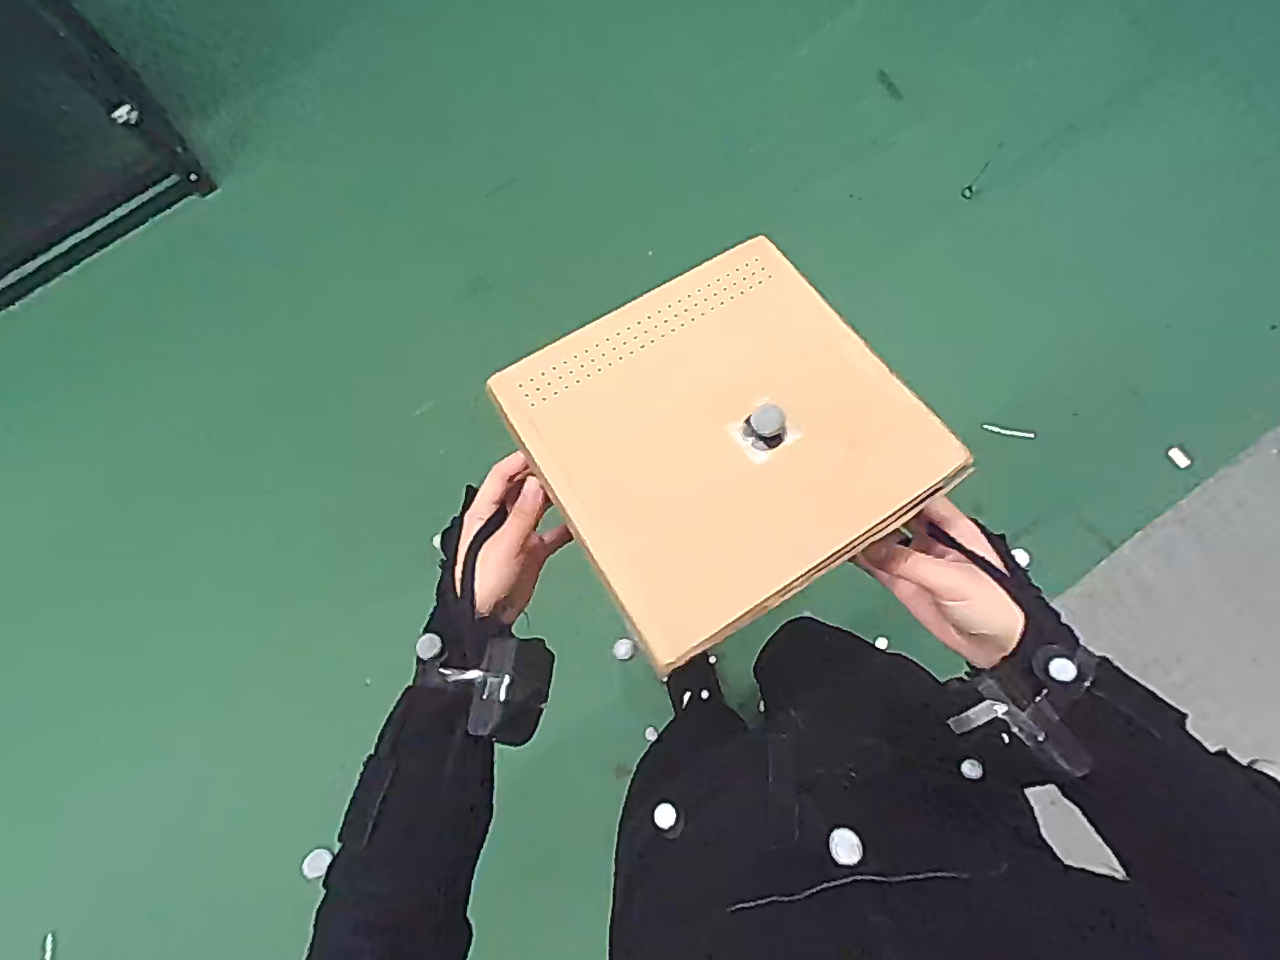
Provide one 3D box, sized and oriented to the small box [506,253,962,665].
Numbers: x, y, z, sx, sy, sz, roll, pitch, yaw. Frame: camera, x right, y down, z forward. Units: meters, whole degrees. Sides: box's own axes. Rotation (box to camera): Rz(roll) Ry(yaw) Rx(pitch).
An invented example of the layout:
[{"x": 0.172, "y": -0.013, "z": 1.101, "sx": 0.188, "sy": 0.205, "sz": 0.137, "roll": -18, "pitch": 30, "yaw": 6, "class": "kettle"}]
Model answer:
[{"x": 0.044, "y": -0.006, "z": 0.346, "sx": 0.179, "sy": 0.168, "sz": 0.176, "roll": -32, "pitch": 71, "yaw": -10, "class": "small box"}]
